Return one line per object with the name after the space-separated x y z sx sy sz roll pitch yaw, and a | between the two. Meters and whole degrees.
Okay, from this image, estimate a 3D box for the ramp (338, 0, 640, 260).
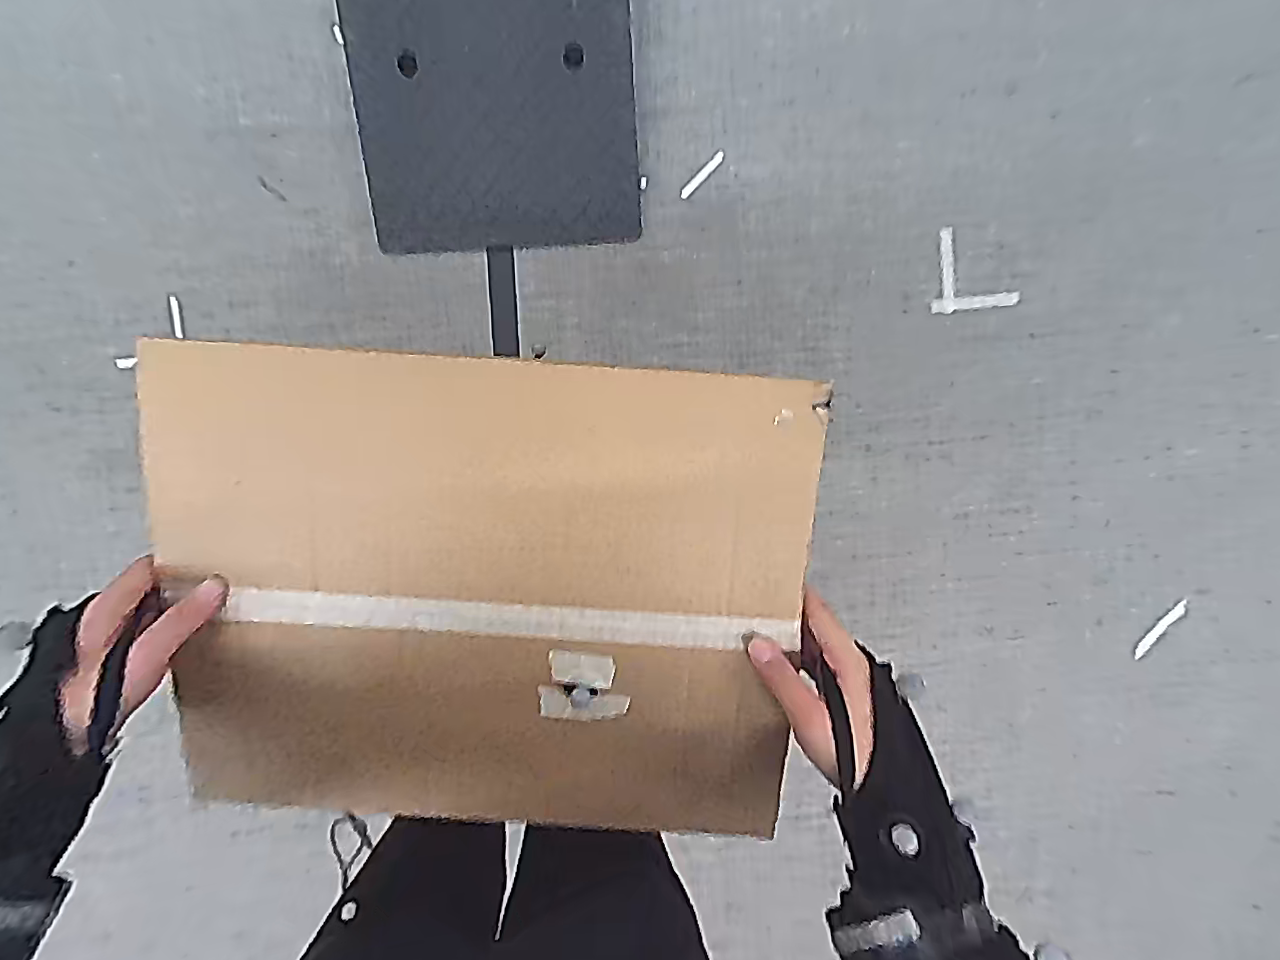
-0.264 -0.908 0.892 0.509 0.206 0.991 -5 95 -3 | ramp
